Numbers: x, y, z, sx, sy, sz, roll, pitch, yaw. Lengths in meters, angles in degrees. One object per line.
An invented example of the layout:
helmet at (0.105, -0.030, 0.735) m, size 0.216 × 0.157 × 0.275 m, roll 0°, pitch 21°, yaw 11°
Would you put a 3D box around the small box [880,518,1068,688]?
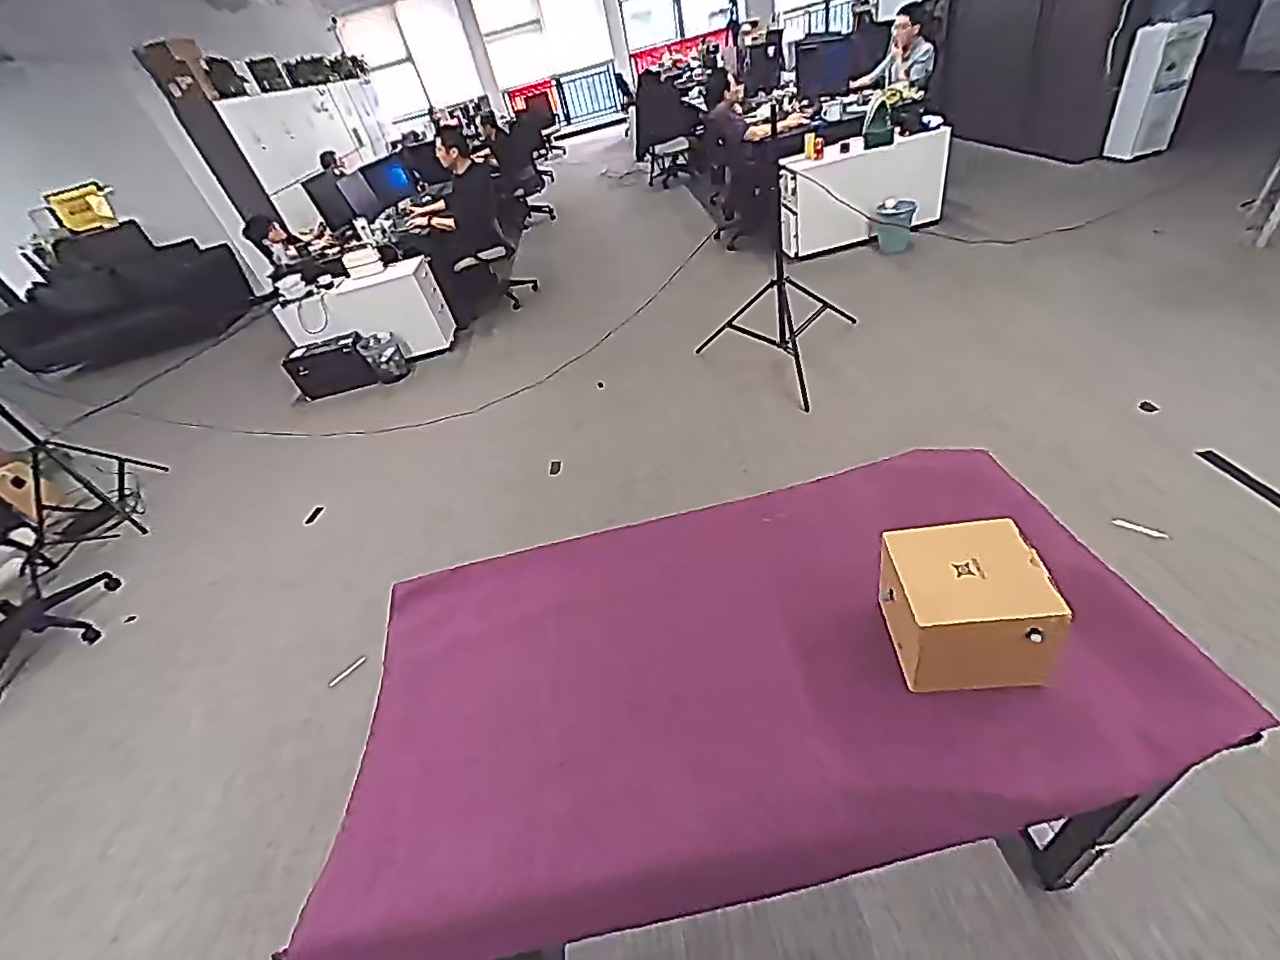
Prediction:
small box at (0.454, 0.179, 0.771) m, size 0.179 × 0.176 × 0.168 m, roll -8°, pitch 39°, yaw 11°
